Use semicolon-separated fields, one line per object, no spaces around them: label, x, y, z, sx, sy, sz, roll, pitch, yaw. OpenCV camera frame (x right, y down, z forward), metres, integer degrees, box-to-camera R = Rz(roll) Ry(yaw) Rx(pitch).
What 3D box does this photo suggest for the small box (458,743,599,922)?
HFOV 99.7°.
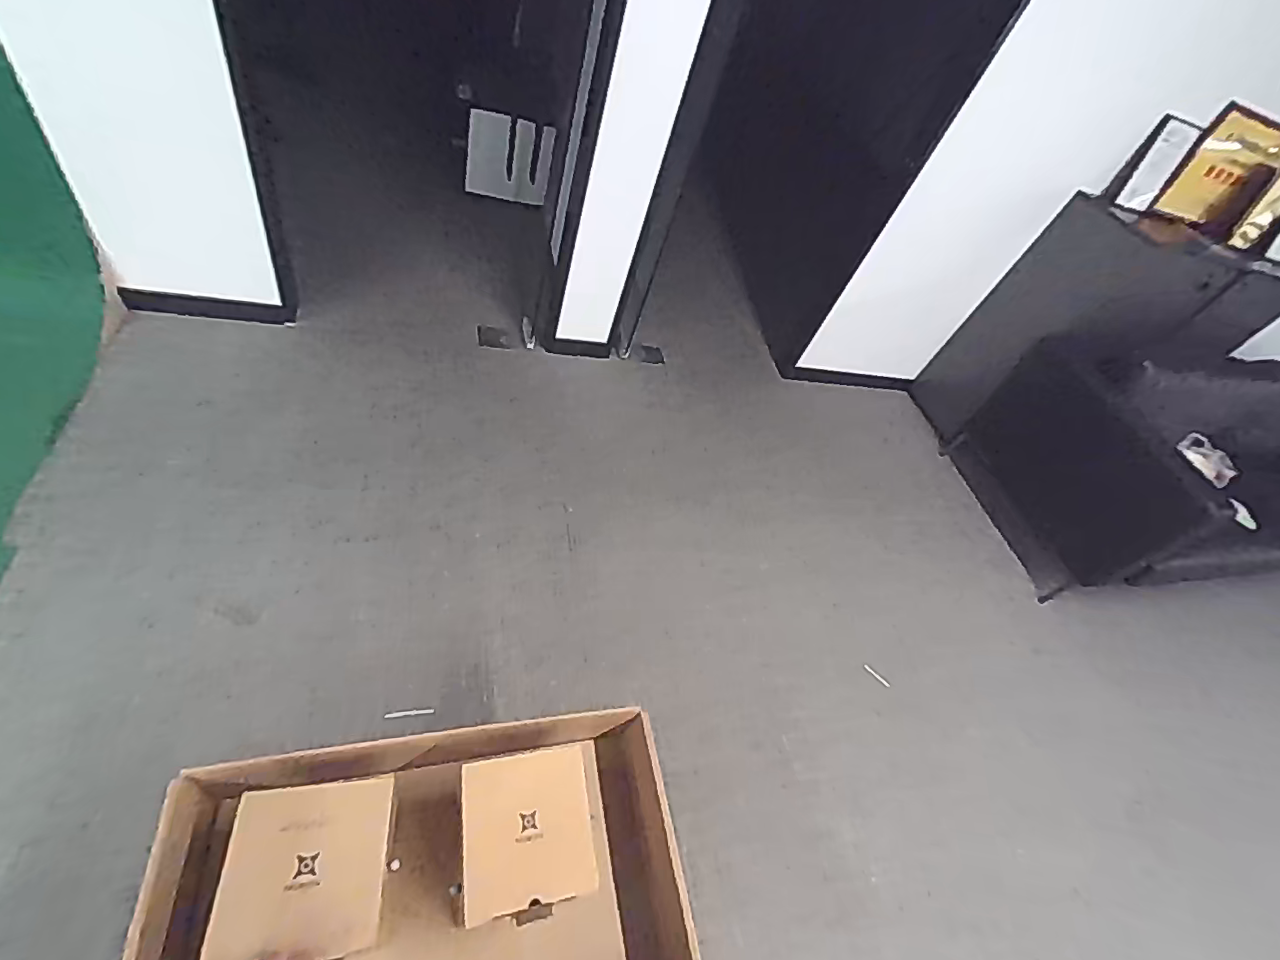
small box;-0.166;0.493;0.760;0.168;0.176;0.179;0;53;-20
